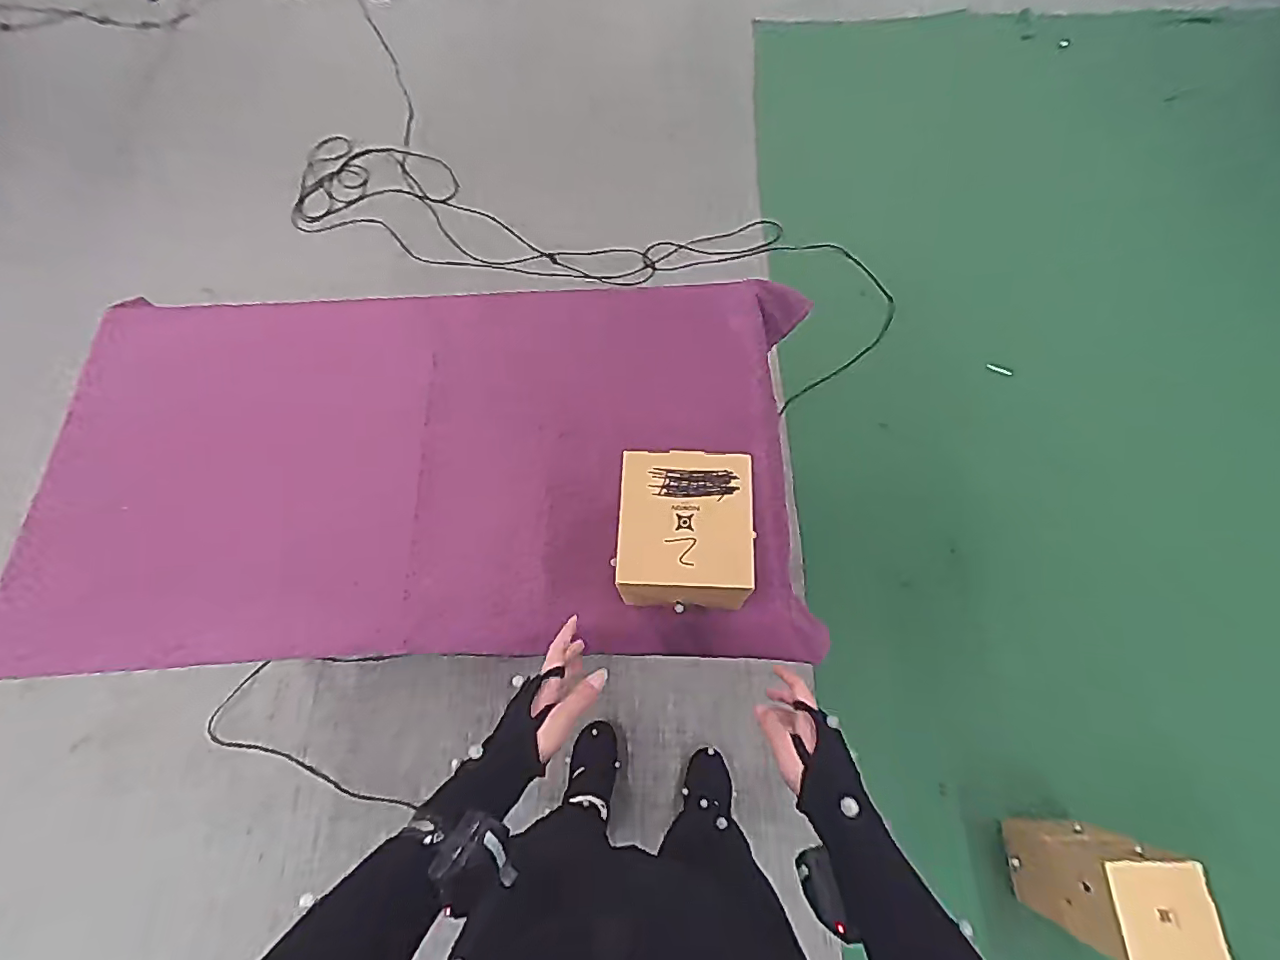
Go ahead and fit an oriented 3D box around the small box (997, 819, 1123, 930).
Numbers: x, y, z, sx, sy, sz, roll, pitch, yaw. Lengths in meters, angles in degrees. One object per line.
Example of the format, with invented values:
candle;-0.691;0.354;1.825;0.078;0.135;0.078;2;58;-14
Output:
small box;0.937;0.860;1.192;0.179;0.176;0.168;-1;69;3

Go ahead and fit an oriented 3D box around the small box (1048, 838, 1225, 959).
small box;0.932;0.807;1.040;0.179;0.176;0.168;-1;69;1
